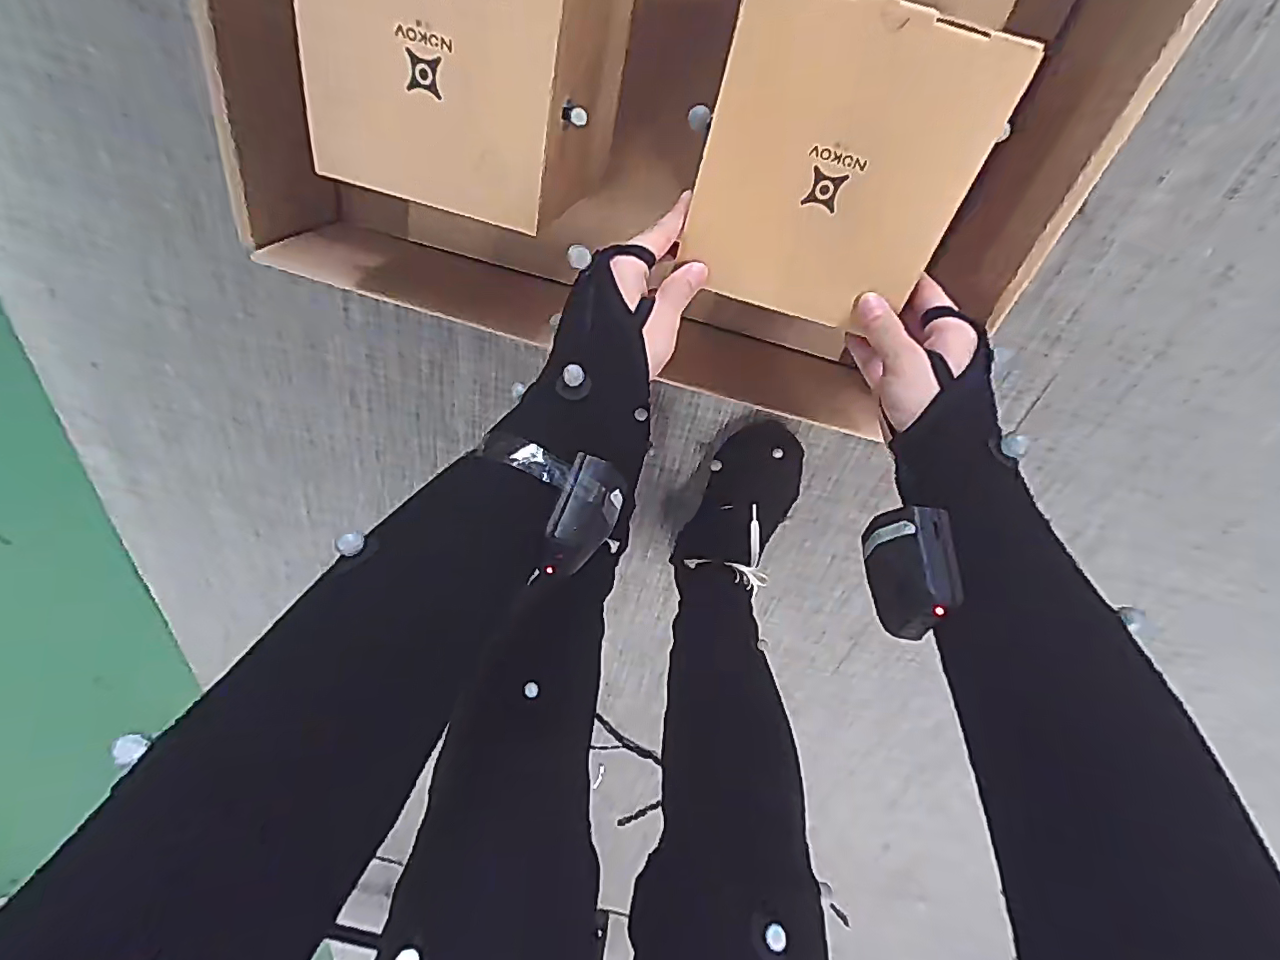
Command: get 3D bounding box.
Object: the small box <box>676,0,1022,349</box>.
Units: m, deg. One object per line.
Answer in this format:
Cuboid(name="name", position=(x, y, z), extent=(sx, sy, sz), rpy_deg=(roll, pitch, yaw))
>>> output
Cuboid(name="small box", position=(0.138, -0.234, 0.422), extent=(0.168, 0.176, 0.179), rpy_deg=(16, 128, 0))
